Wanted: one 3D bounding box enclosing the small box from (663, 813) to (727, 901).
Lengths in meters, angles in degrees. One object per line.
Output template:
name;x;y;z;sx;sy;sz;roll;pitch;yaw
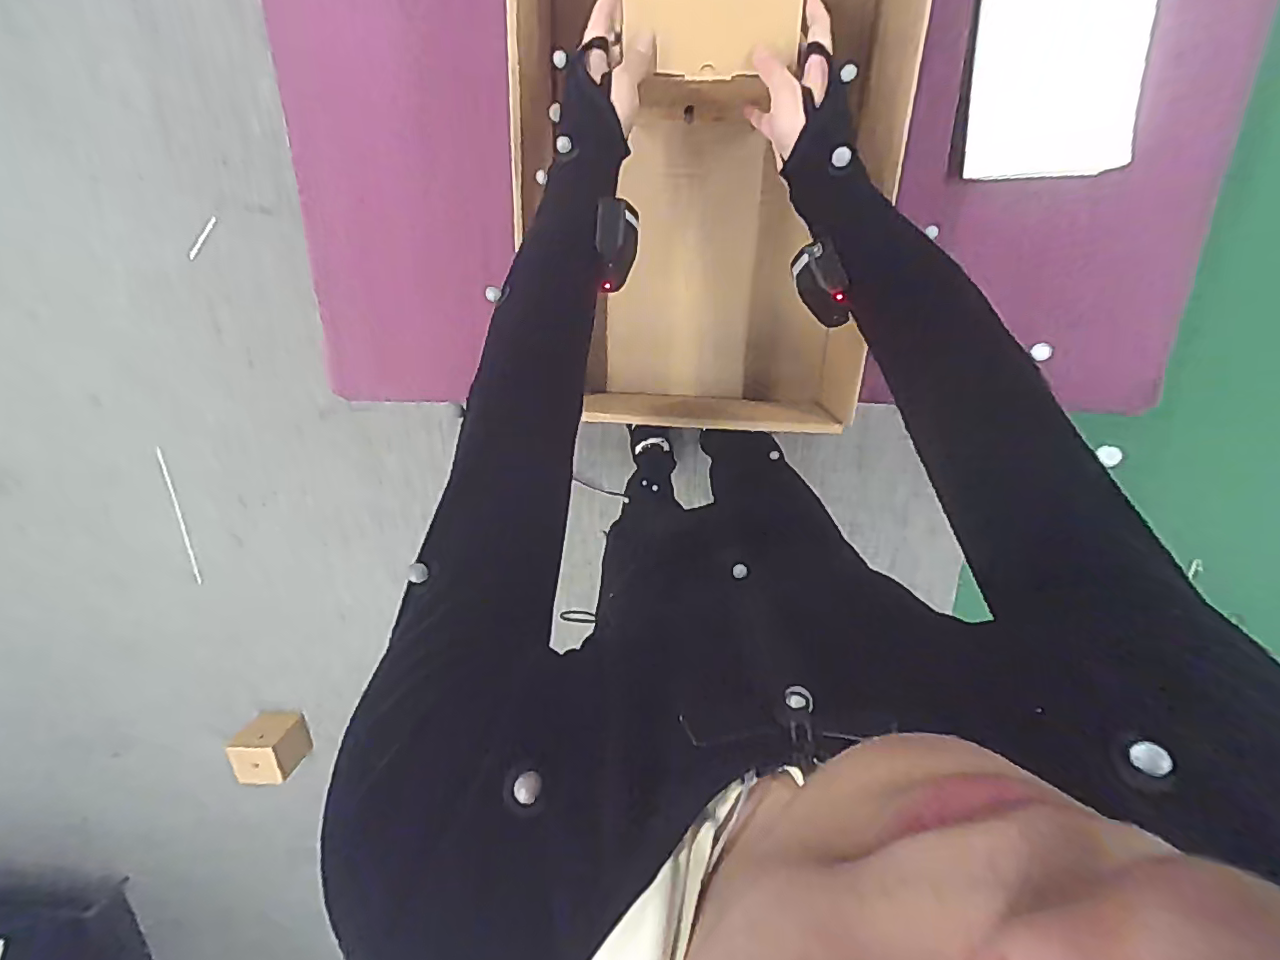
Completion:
small box;0.201;1.380;1.985;0.168;0.176;0.179;32;107;-7

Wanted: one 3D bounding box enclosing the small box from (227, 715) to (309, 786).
small box;-1.345;0.983;1.974;0.179;0.176;0.168;-2;108;5

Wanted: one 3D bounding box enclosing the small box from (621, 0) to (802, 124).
small box;0.069;-0.488;0.550;0.168;0.176;0.179;2;111;3
